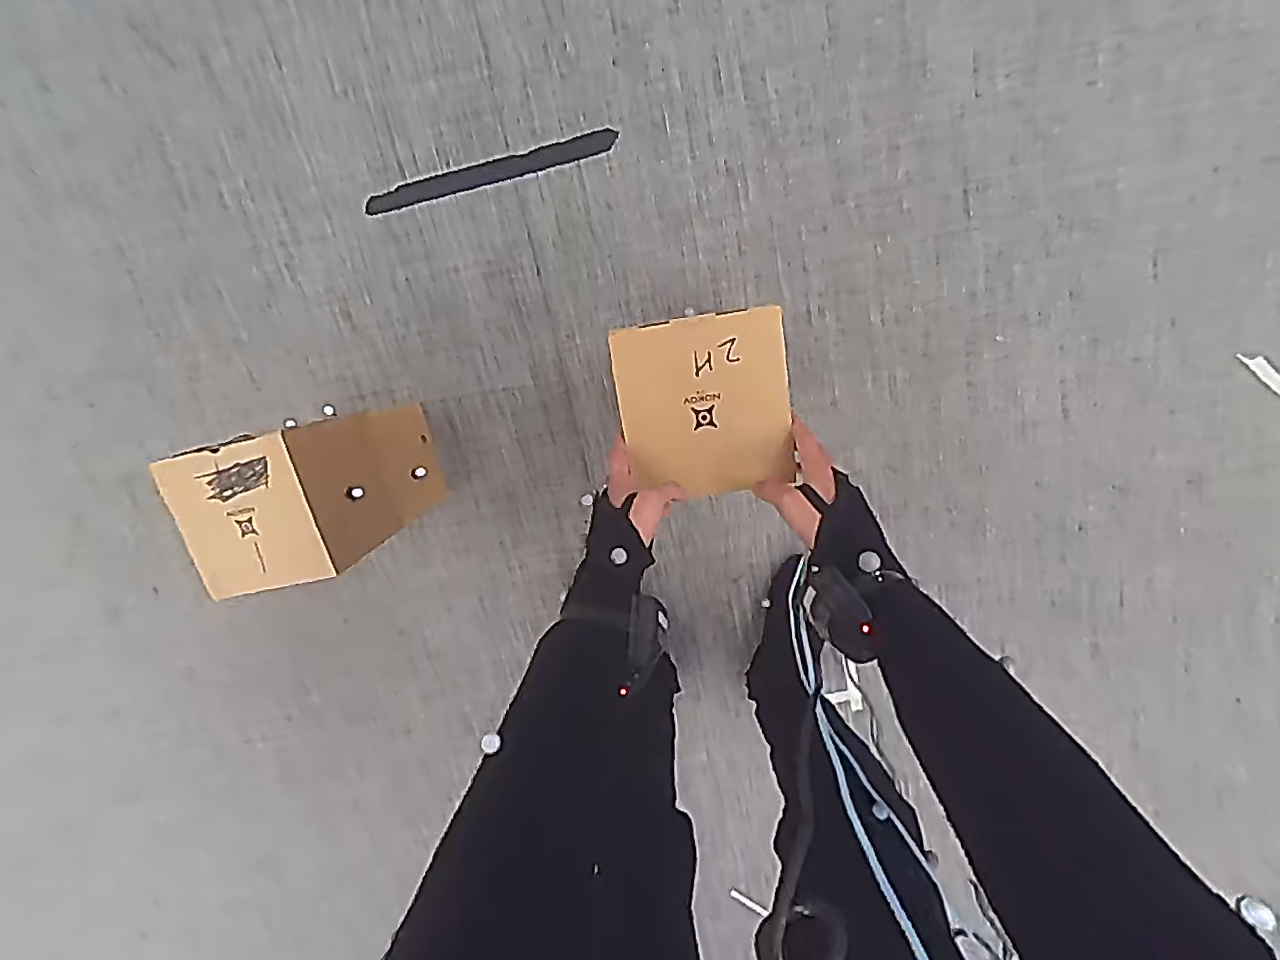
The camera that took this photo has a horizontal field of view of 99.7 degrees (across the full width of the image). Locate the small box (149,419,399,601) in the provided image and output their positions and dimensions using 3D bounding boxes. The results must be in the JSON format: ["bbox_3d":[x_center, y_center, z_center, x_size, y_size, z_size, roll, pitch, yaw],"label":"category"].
[{"bbox_3d":[-0.440,0.026,0.683,0.168,0.176,0.179,-11,105,6],"label":"small box"}]

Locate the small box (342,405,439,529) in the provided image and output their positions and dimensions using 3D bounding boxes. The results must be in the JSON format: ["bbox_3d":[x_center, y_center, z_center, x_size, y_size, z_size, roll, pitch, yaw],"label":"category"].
[{"bbox_3d":[-0.437,-0.013,0.843,0.179,0.176,0.168,-12,104,6],"label":"small box"}]

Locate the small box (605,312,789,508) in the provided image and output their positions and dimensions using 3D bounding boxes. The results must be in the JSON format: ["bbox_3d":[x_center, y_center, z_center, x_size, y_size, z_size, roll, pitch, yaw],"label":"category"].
[{"bbox_3d":[0.063,-0.083,0.601,0.168,0.176,0.179,-7,103,5],"label":"small box"}]
